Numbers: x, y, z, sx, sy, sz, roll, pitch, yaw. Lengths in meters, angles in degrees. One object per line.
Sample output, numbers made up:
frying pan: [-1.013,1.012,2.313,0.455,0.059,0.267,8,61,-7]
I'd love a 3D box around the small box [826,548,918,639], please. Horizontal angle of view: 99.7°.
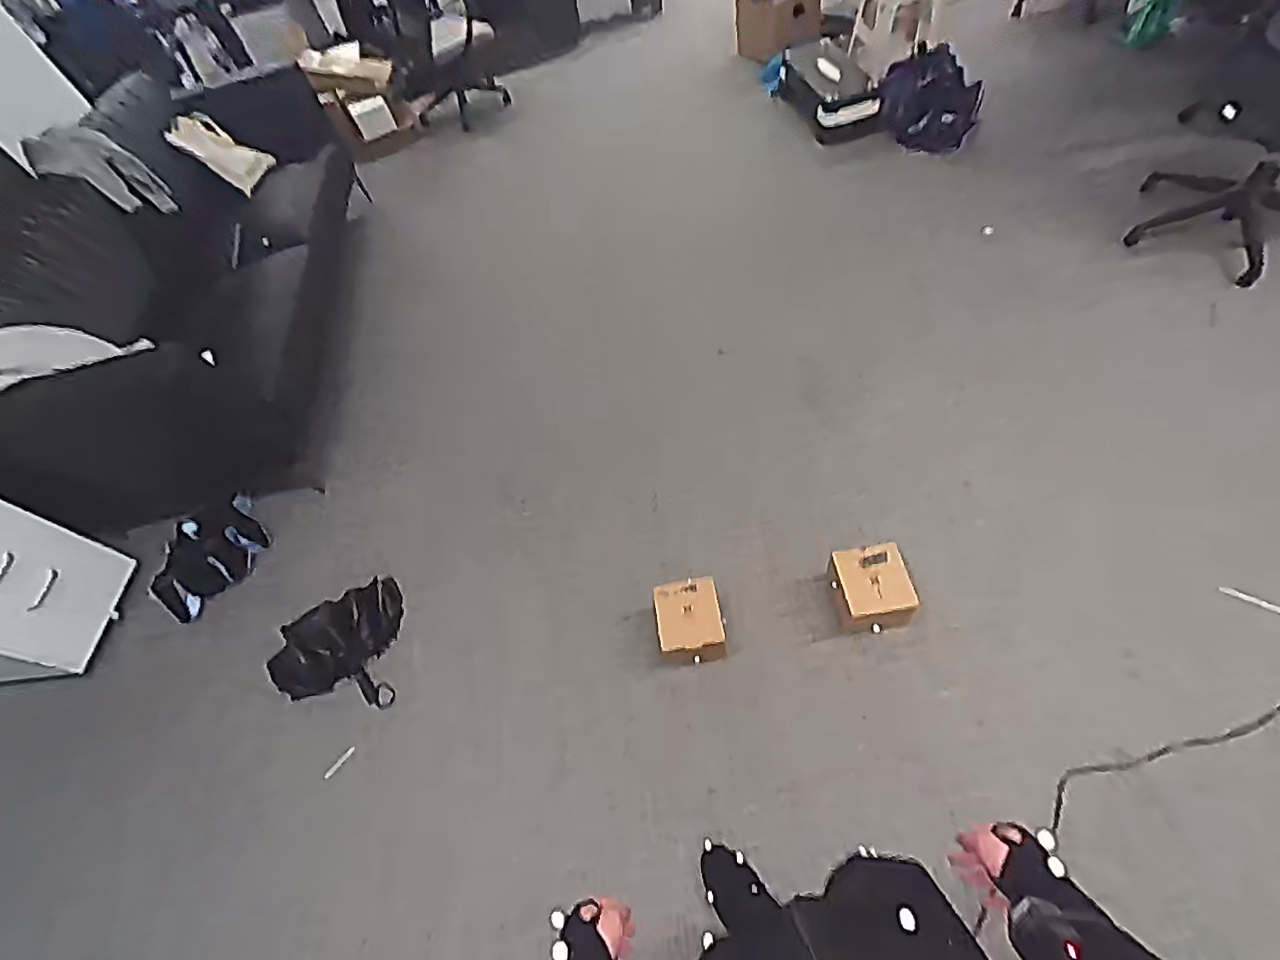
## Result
small box: [0.605,0.304,1.437,0.168,0.176,0.179,-11,57,5]

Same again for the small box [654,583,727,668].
small box: [0.140,0.402,1.471,0.168,0.176,0.179,-11,56,4]
